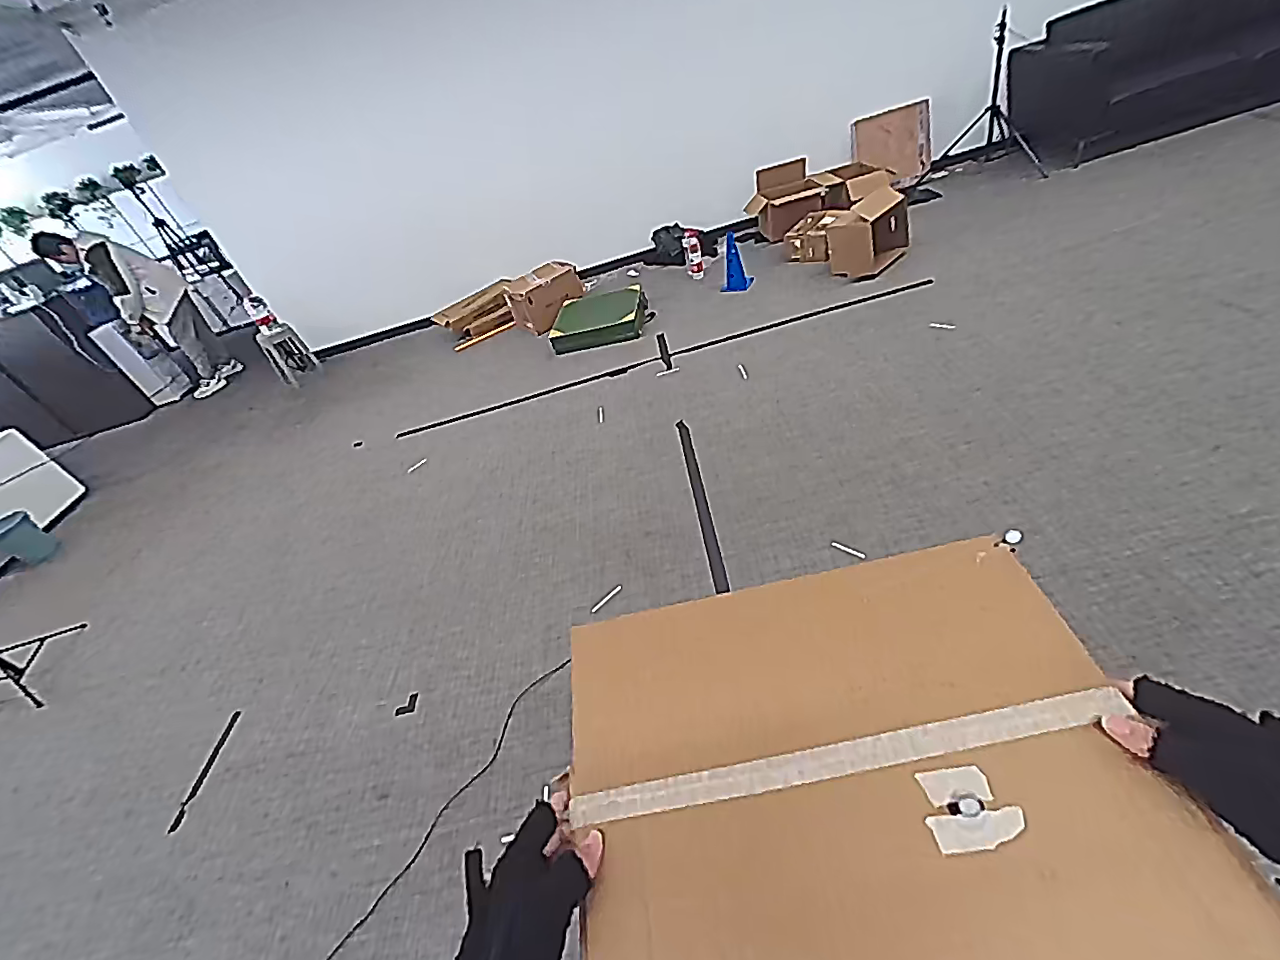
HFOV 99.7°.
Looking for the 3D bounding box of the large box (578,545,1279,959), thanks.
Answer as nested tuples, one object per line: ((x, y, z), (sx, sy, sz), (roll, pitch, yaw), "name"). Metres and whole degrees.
((0.181, 0.315, 0.511), (0.408, 0.320, 0.320), (-14, 46, 3), "large box")
